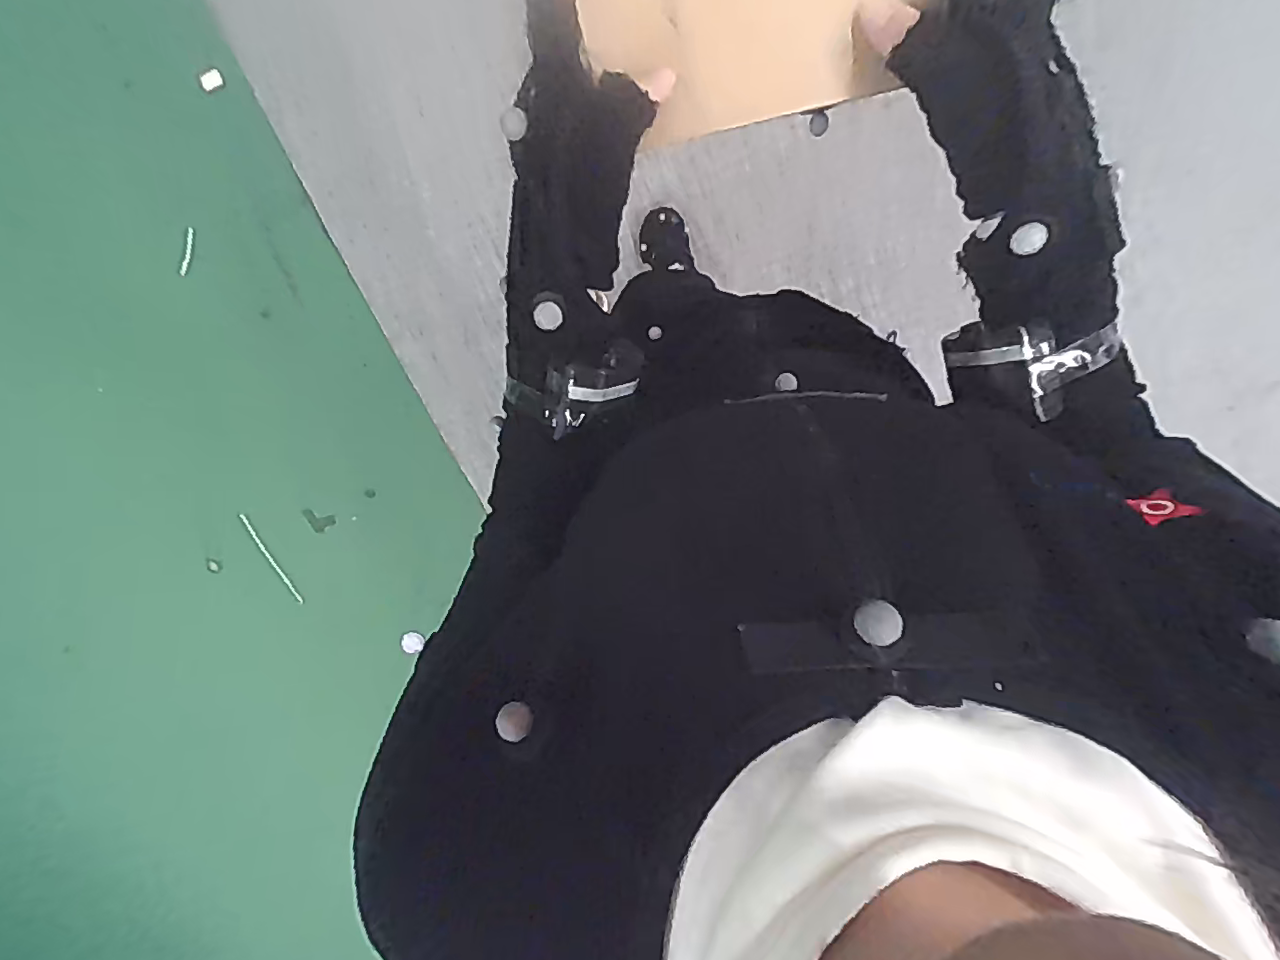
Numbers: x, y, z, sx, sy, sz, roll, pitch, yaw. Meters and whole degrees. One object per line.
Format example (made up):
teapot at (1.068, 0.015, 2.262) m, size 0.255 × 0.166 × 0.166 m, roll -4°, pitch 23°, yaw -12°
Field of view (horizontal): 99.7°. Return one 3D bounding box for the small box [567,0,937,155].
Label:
small box at (0.049, -0.303, 0.310) m, size 0.179 × 0.176 × 0.168 m, roll -10°, pitch 121°, yaw 9°
